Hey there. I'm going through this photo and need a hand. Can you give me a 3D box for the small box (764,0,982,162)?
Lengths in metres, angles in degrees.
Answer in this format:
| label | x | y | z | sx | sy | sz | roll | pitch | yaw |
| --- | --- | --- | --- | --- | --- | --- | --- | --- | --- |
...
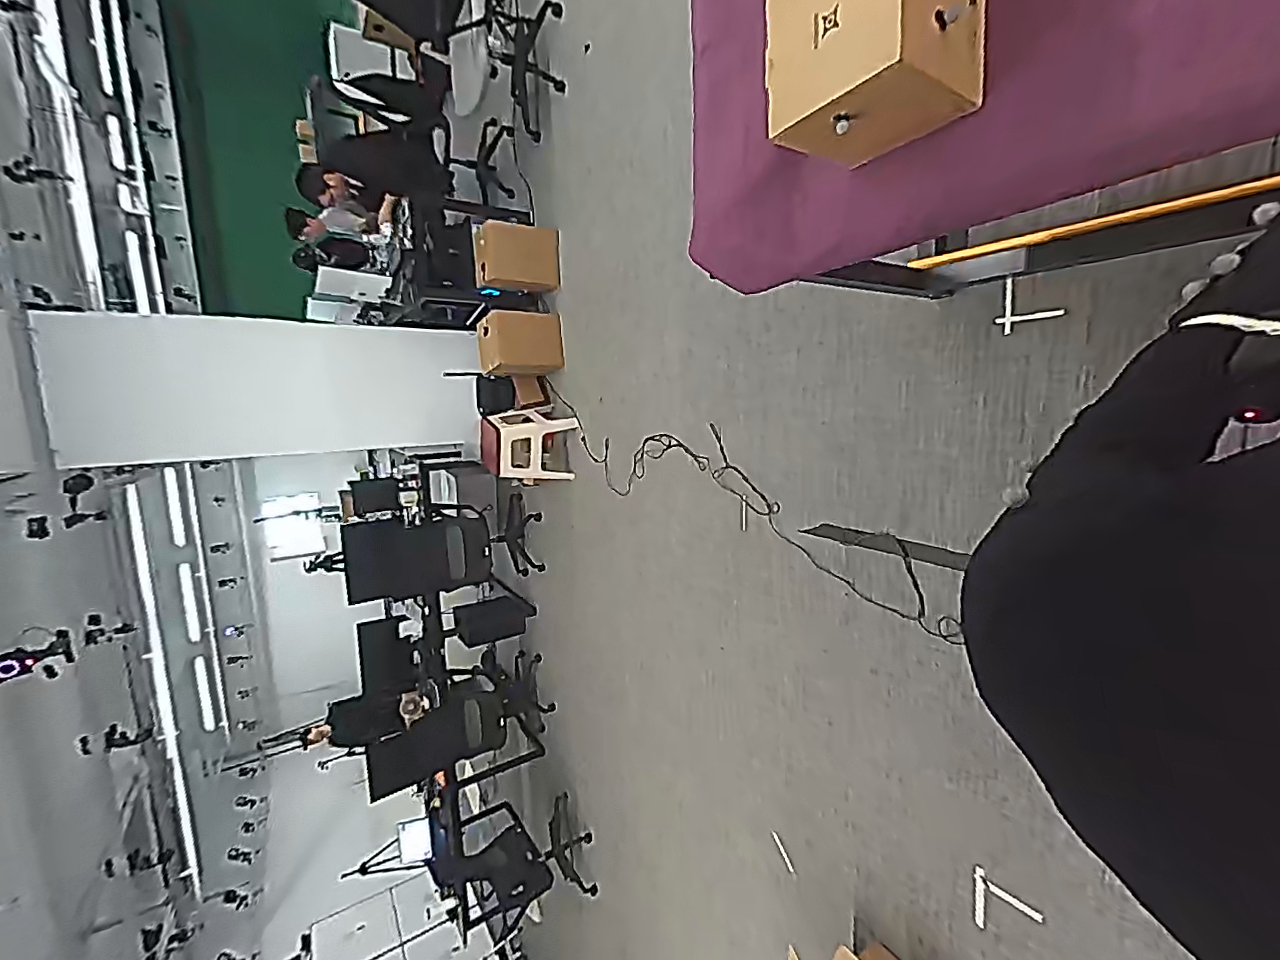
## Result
| label | x | y | z | sx | sy | sz | roll | pitch | yaw |
| --- | --- | --- | --- | --- | --- | --- | --- | --- | --- |
| small box | 0.266 | -0.497 | 0.620 | 0.179 | 0.176 | 0.168 | 8 | 103 | 57 |
